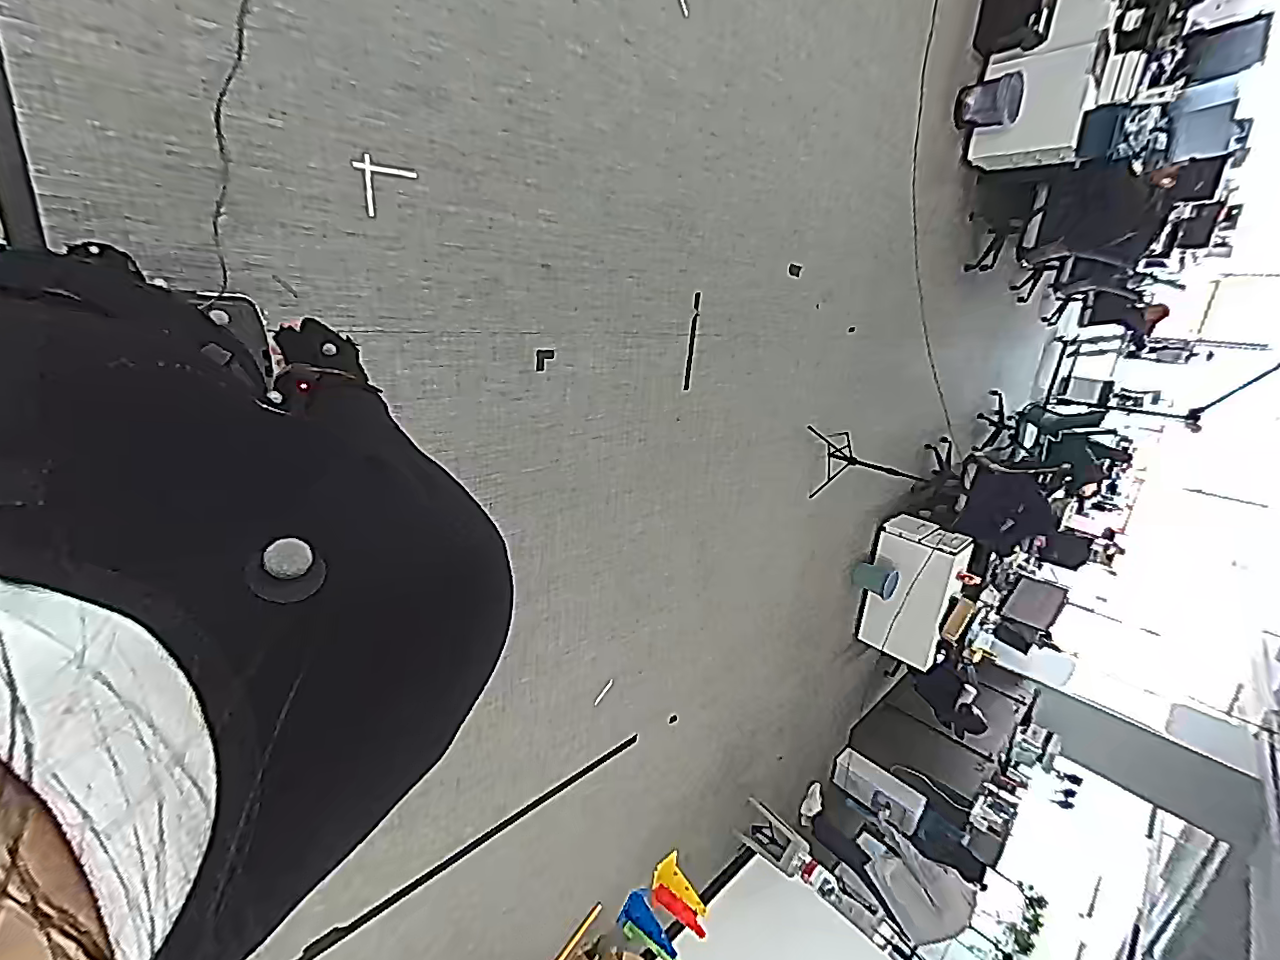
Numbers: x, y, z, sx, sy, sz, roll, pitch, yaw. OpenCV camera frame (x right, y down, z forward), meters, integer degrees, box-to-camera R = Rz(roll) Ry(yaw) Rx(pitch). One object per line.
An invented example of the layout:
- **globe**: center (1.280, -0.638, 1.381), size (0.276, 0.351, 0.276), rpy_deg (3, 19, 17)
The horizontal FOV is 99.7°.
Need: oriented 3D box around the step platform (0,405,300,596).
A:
- **step platform**: center (-1.081, 0.031, 1.077), size (0.684, 0.204, 0.286), rpy_deg (-13, 115, -40)
